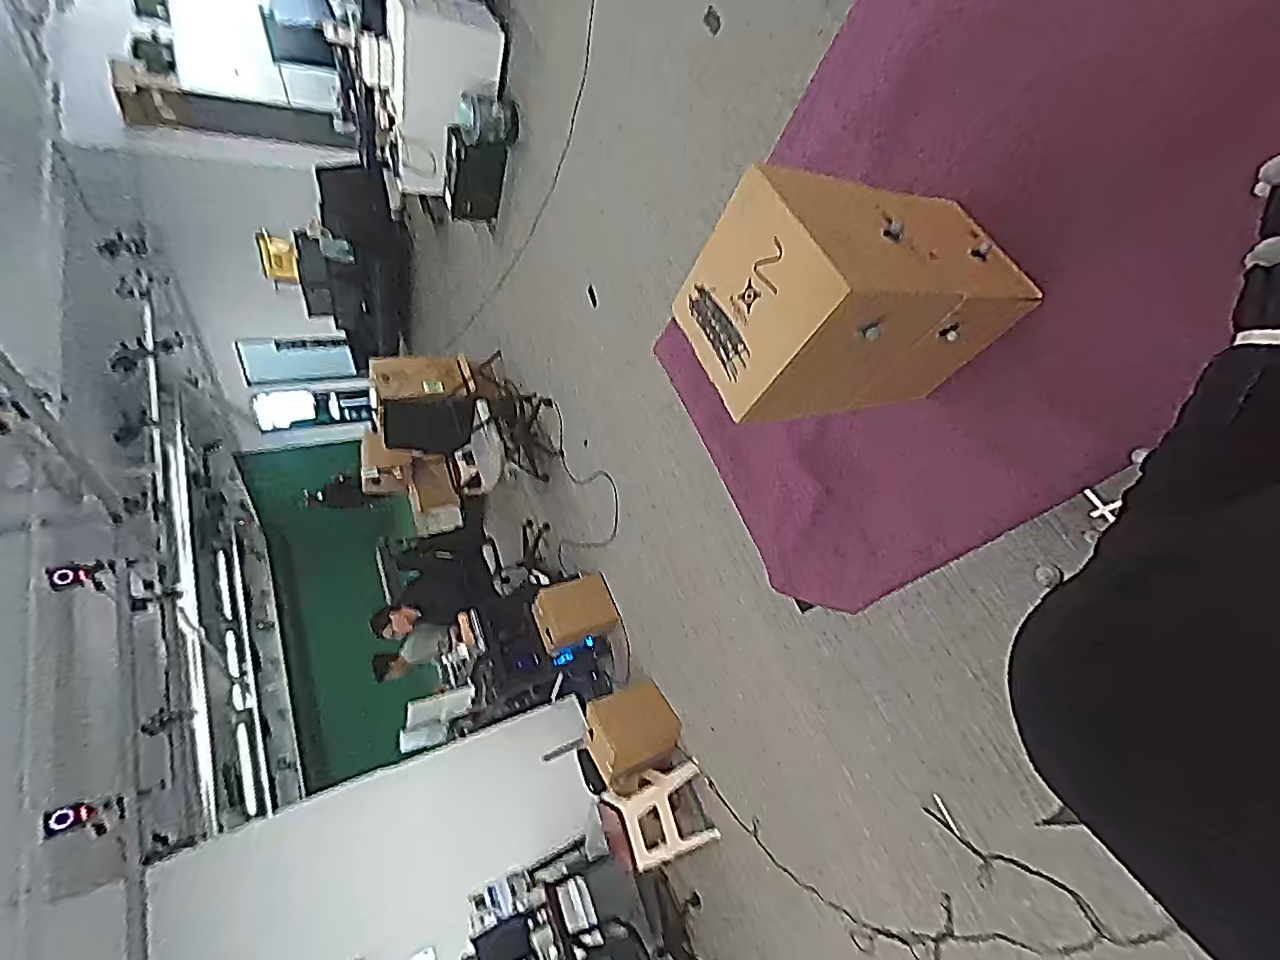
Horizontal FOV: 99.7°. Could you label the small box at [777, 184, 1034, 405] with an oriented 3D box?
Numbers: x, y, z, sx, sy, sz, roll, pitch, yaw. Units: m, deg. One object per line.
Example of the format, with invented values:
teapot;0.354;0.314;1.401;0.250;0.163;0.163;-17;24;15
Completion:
small box;0.304;-0.209;0.638;0.168;0.176;0.179;65;146;23
